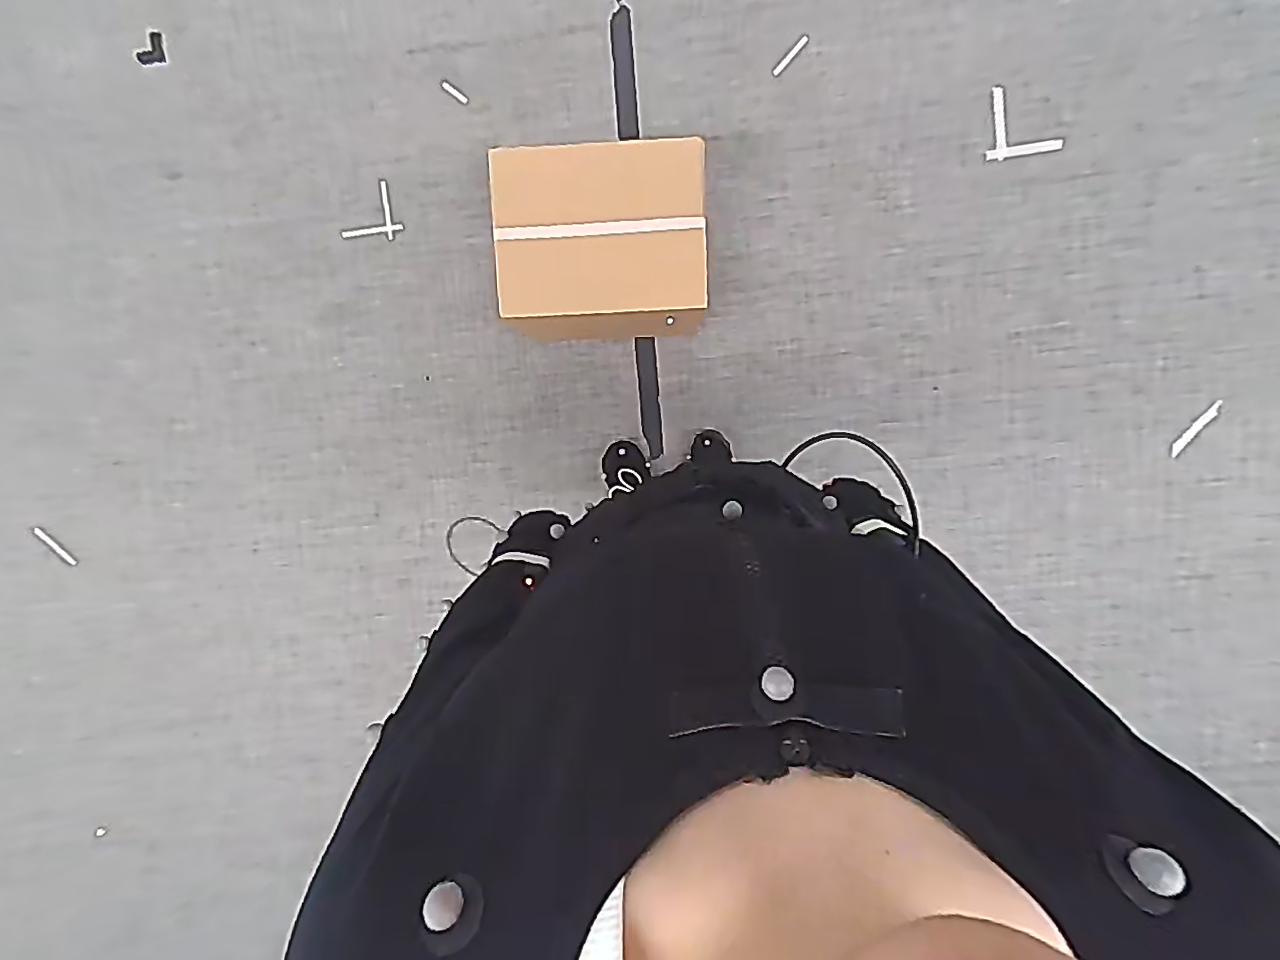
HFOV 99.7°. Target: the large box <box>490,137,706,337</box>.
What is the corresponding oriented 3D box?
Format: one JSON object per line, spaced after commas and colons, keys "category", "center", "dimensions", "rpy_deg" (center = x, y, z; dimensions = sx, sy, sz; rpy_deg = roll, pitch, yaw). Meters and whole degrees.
{"category": "large box", "center": [-0.073, -0.496, 1.178], "dimensions": [0.408, 0.320, 0.320], "rpy_deg": [-2, 96, 2]}
